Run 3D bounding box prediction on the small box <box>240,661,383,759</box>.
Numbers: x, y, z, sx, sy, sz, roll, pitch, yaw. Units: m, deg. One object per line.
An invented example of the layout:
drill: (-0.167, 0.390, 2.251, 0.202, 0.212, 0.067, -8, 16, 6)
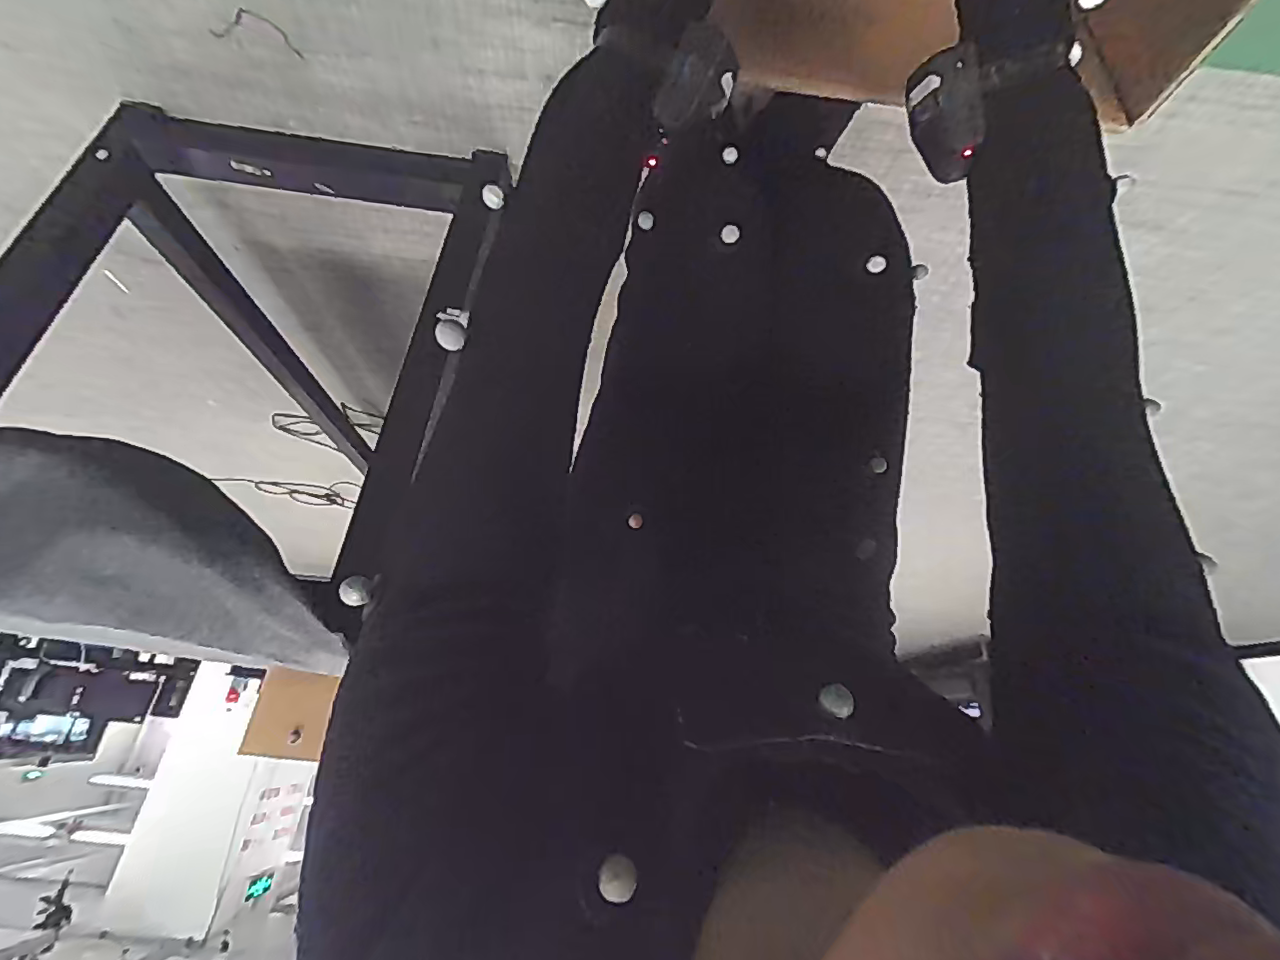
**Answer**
small box: (-0.666, 0.473, 1.119, 0.179, 0.176, 0.168, 7, 156, -3)
